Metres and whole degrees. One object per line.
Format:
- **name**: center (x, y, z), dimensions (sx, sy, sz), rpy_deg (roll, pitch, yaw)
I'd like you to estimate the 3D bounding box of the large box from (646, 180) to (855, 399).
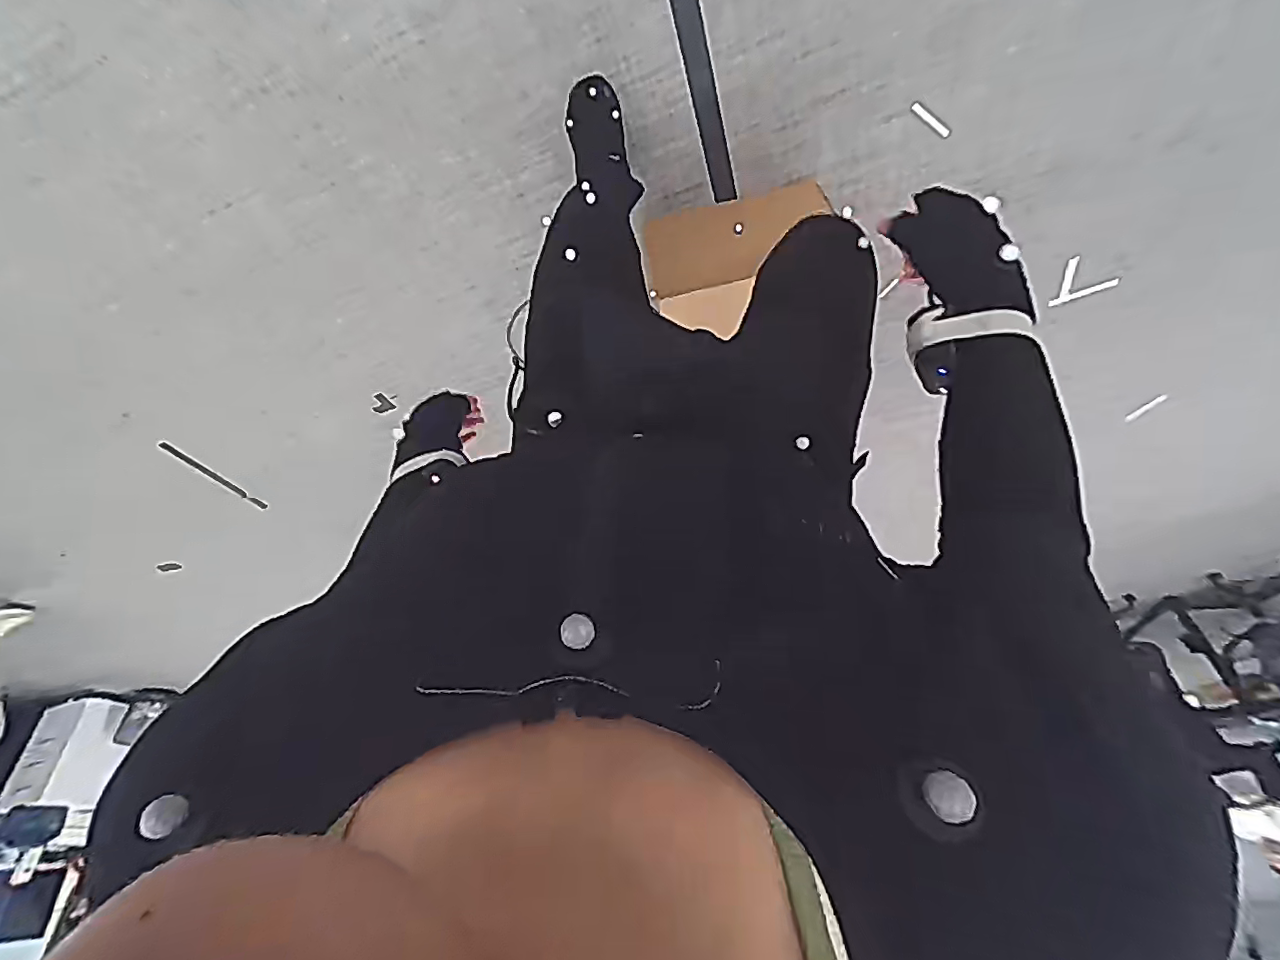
- **large box**: center (0.251, -0.446, 1.289), dimensions (0.408, 0.320, 0.320), rpy_deg (-12, 143, 6)
